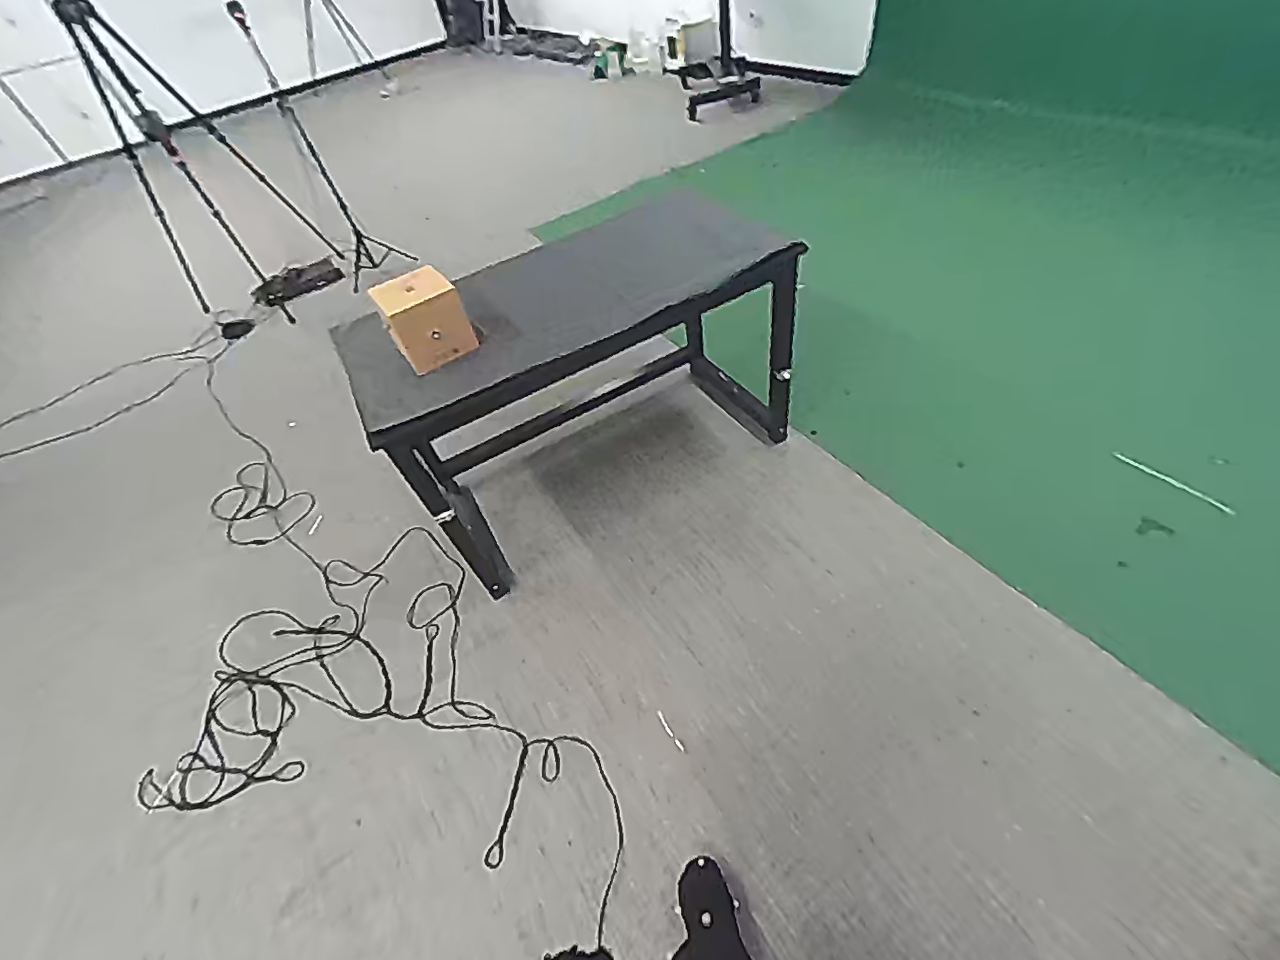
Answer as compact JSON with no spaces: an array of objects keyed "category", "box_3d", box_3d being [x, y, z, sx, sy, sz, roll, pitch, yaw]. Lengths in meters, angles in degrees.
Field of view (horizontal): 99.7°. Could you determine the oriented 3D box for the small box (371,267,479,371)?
[{"category":"small box","box_3d":[-0.524,-0.392,1.334,0.168,0.176,0.179,-32,50,-18]}]
